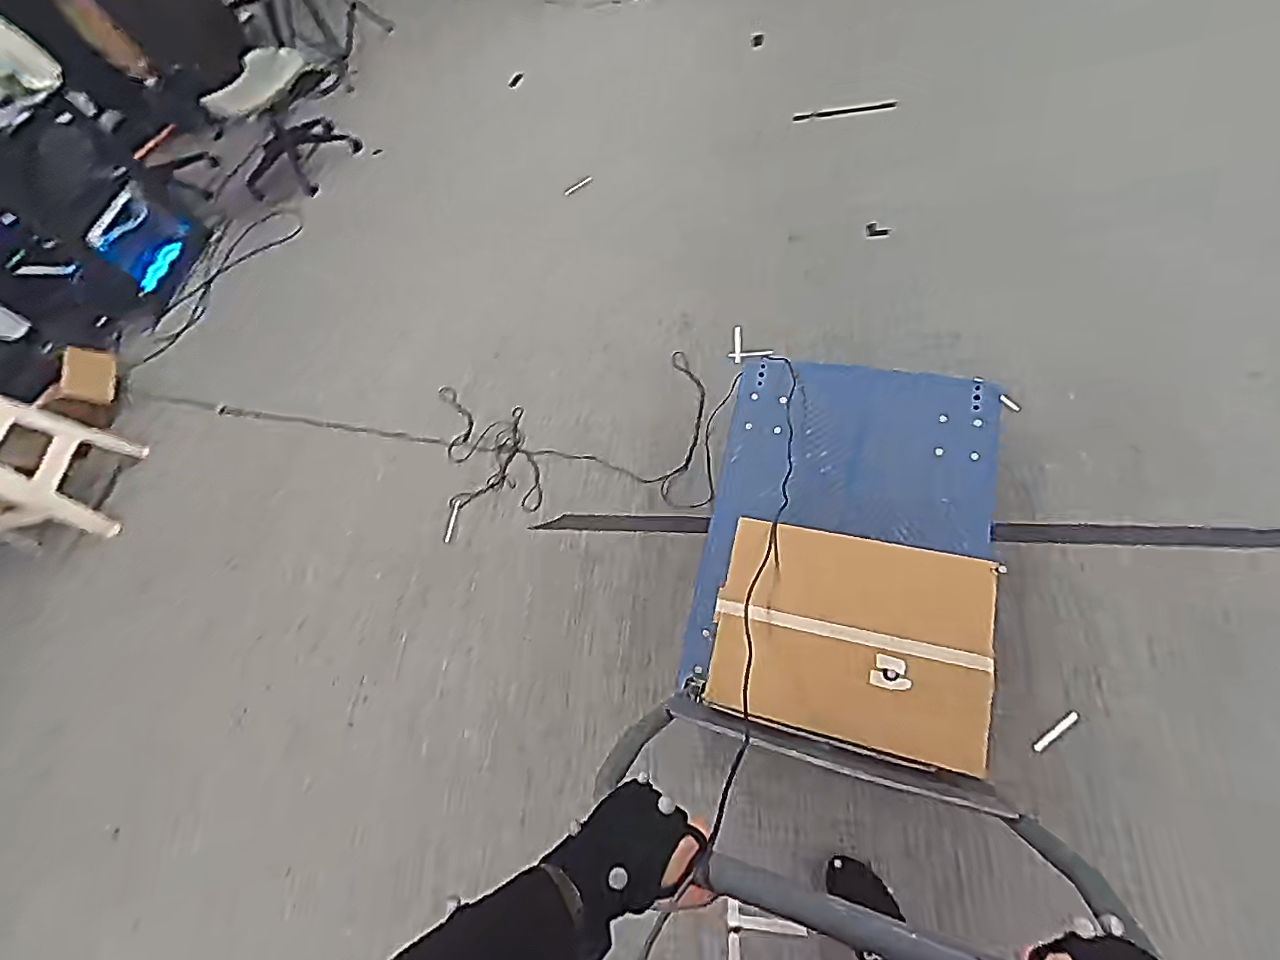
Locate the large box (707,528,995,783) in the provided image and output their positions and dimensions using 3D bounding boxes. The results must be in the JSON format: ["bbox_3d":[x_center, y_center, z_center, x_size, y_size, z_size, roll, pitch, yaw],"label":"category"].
[{"bbox_3d":[0.357,0.300,0.984,0.408,0.320,0.320,10,75,16],"label":"large box"}]
